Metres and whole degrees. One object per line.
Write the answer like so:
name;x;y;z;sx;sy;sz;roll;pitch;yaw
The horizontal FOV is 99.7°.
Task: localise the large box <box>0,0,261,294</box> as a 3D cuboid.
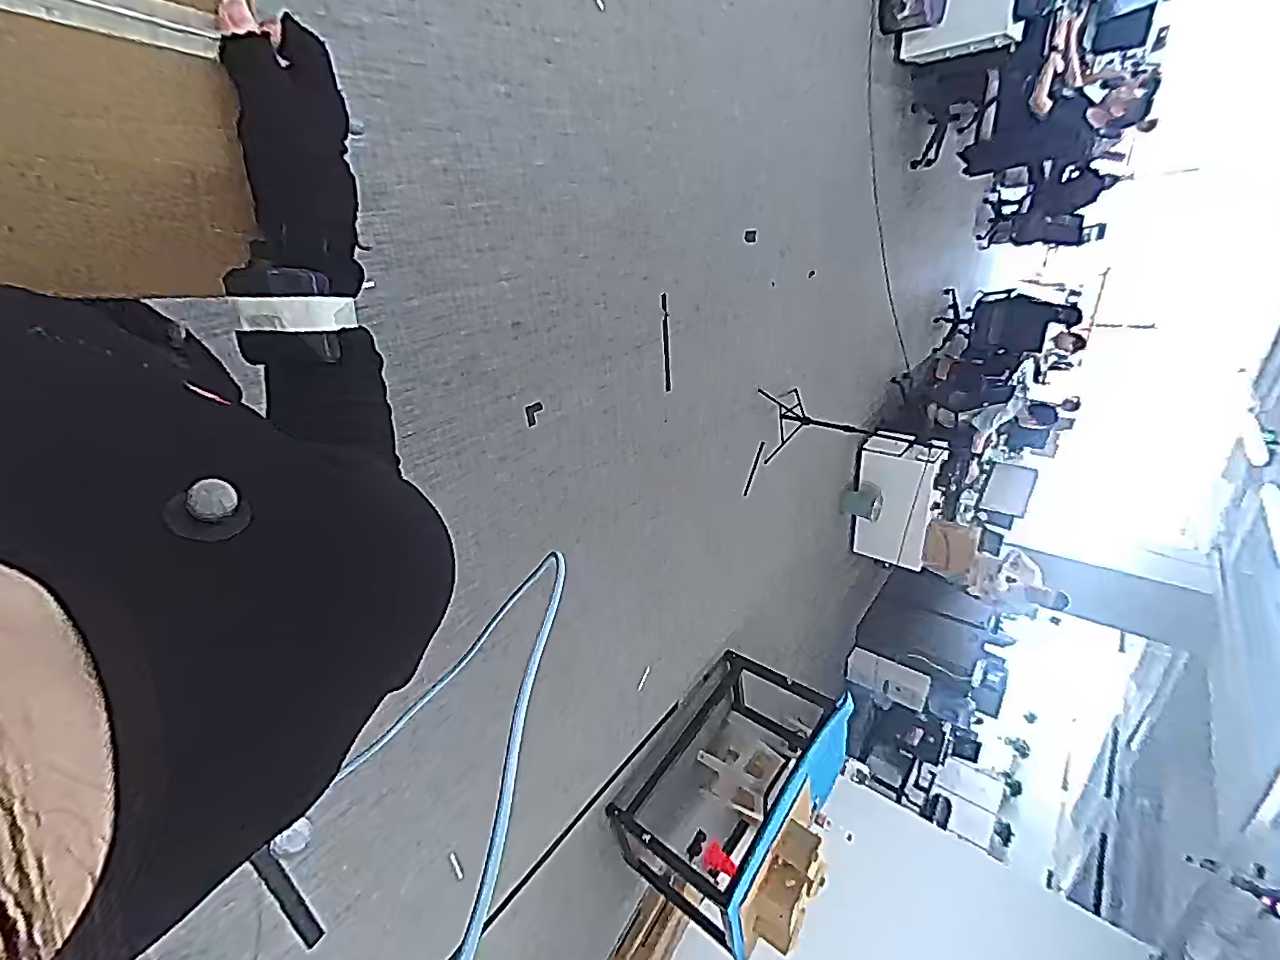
large box;-0.466;-0.300;0.243;0.408;0.320;0.320;-22;146;-45
